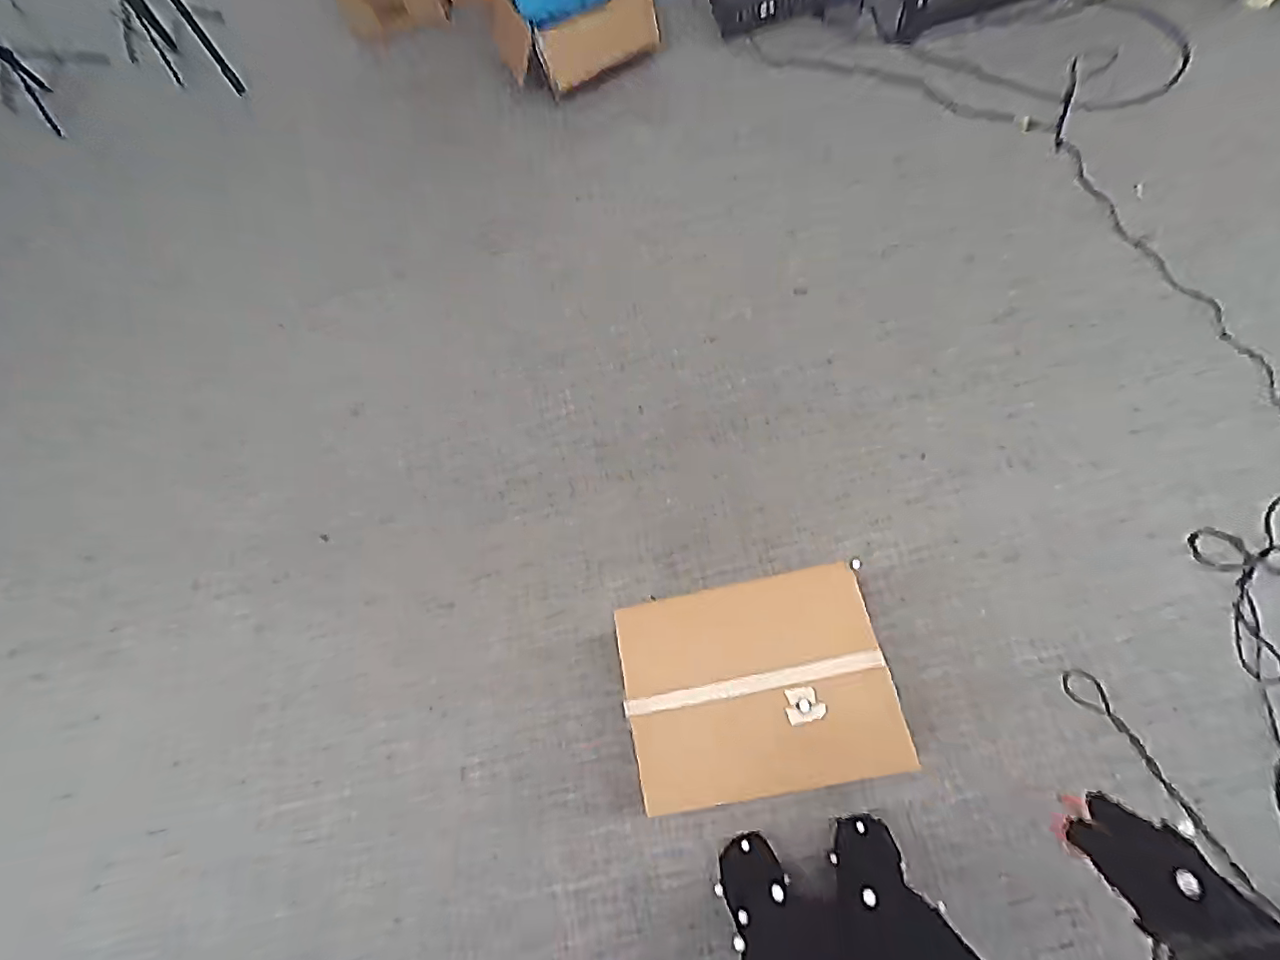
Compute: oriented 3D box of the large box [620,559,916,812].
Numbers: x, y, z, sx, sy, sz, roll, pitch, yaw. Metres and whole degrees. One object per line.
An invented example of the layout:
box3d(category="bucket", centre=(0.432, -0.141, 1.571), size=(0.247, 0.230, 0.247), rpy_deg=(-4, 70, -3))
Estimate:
box3d(category="large box", centre=(0.207, 0.372, 0.996), size=(0.408, 0.320, 0.320), rpy_deg=(-13, 68, 4))
